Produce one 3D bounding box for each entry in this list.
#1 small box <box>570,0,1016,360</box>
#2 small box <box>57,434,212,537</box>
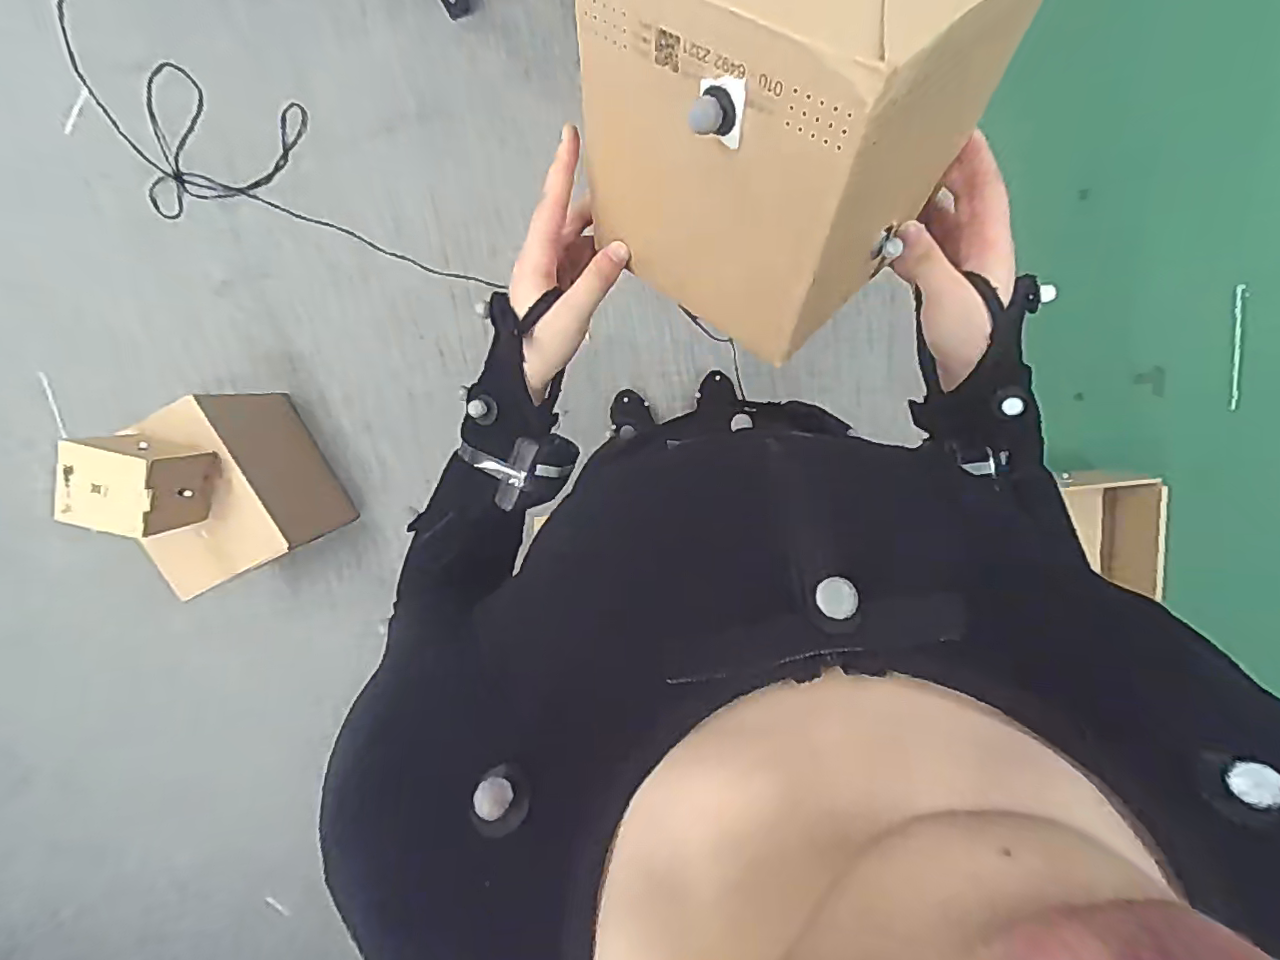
[{"bbox_3d":[0.079,-0.214,0.318,0.168,0.176,0.179,39,68,20],"label":"small box"},{"bbox_3d":[-1.050,0.004,1.136,0.179,0.176,0.168,13,99,-3],"label":"small box"}]
